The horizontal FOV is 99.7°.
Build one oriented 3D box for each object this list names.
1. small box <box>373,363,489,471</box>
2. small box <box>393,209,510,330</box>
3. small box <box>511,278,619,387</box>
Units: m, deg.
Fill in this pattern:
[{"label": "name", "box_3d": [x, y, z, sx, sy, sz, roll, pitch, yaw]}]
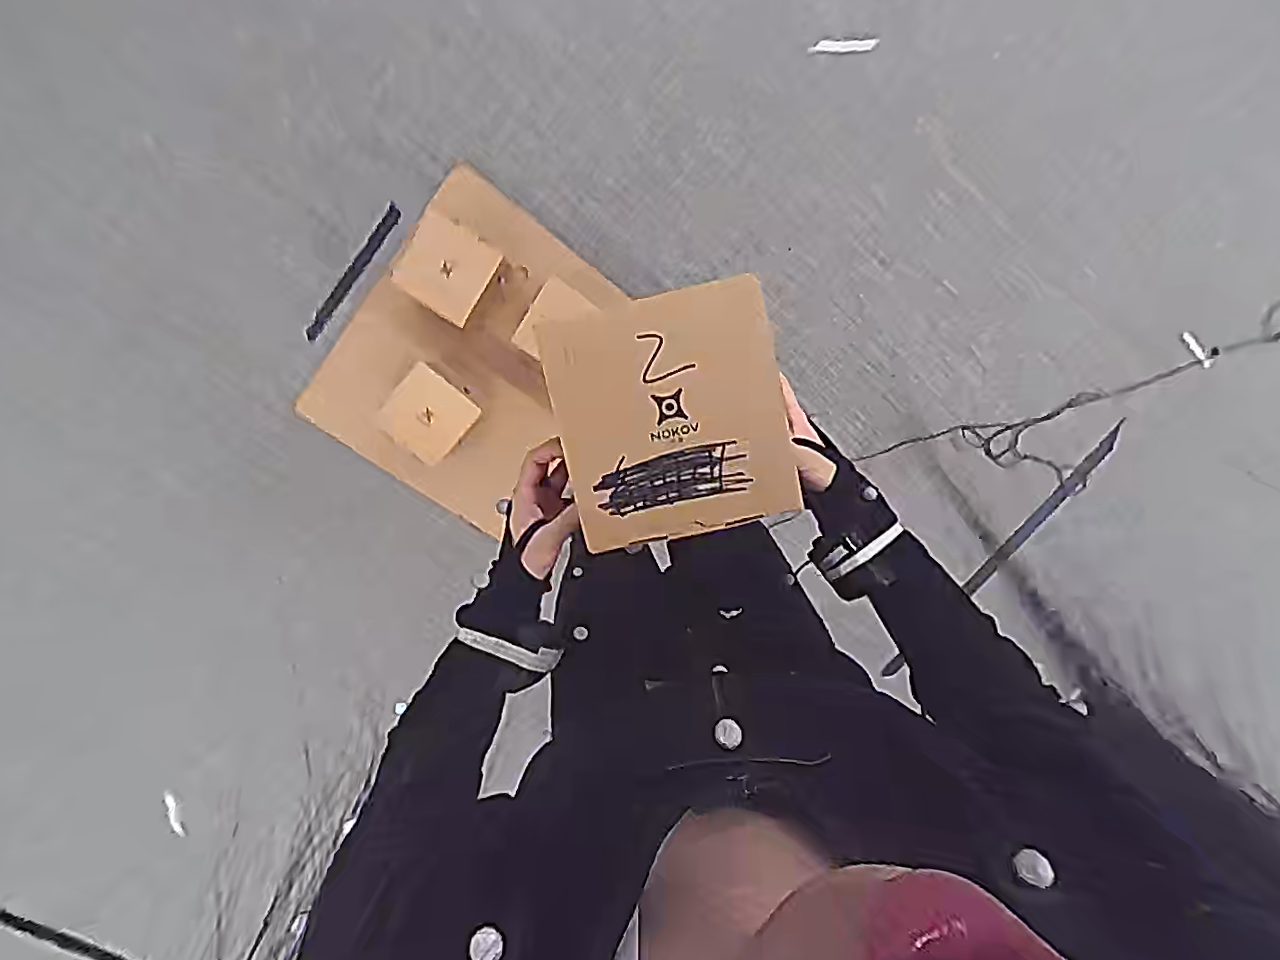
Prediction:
[{"label": "small box", "box_3d": [-0.462, -0.152, 1.231, 0.168, 0.176, 0.179, 39, 97, -15]}, {"label": "small box", "box_3d": [-0.397, -0.444, 1.173, 0.168, 0.176, 0.179, 31, 98, -12]}, {"label": "small box", "box_3d": [-0.169, -0.332, 1.228, 0.179, 0.176, 0.168, 32, 97, -13]}]
